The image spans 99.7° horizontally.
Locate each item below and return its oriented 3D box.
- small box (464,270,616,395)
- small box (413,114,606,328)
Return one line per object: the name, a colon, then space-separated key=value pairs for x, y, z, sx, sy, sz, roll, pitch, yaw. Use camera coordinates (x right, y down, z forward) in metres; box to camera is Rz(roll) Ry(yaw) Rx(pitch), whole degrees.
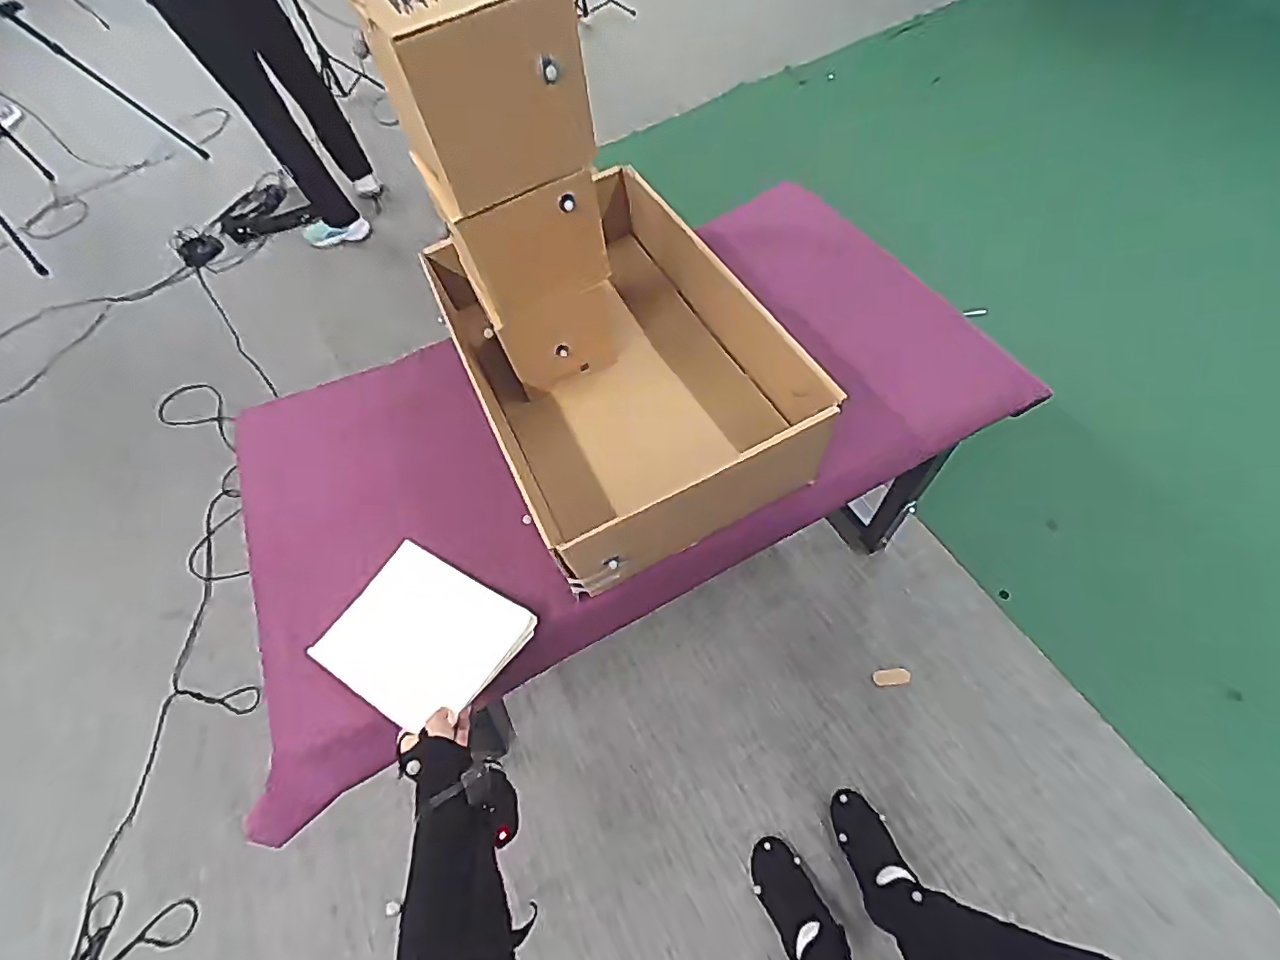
small box: x=-0.152 y=-0.260 z=0.863 sx=0.168 sy=0.176 sz=0.179 roll=-27 pitch=62 yaw=-8
small box: x=-0.164 y=-0.337 z=0.722 sx=0.179 sy=0.176 sz=0.168 roll=-29 pitch=62 yaw=-9
